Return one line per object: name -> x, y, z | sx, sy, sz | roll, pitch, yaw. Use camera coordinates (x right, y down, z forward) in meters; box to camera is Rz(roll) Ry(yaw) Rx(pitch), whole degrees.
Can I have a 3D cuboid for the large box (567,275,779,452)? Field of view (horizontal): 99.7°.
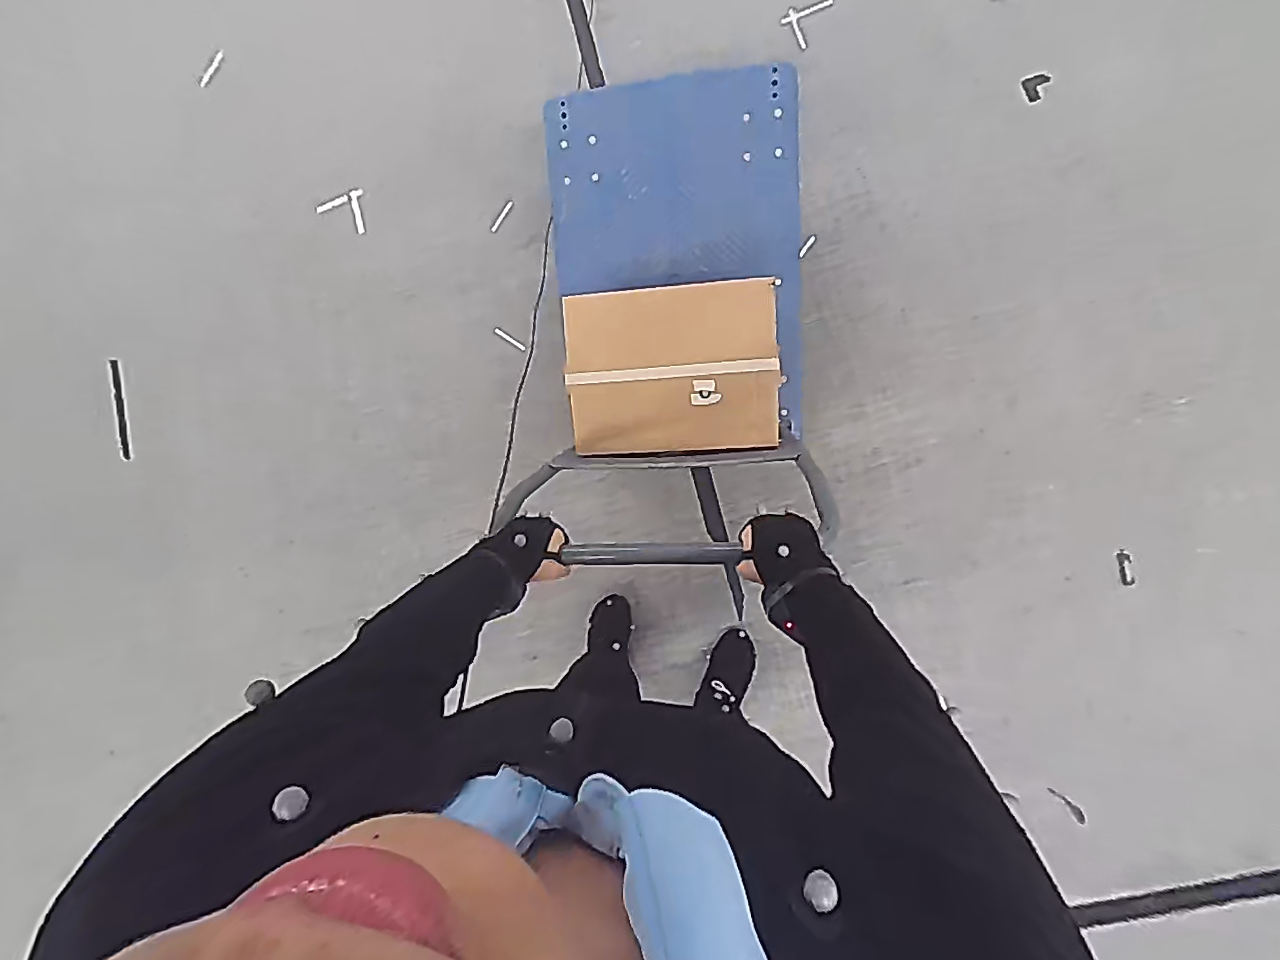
large box -> 0.081, -0.246, 1.201 | 0.408, 0.320, 0.320 | -3, 101, 8
